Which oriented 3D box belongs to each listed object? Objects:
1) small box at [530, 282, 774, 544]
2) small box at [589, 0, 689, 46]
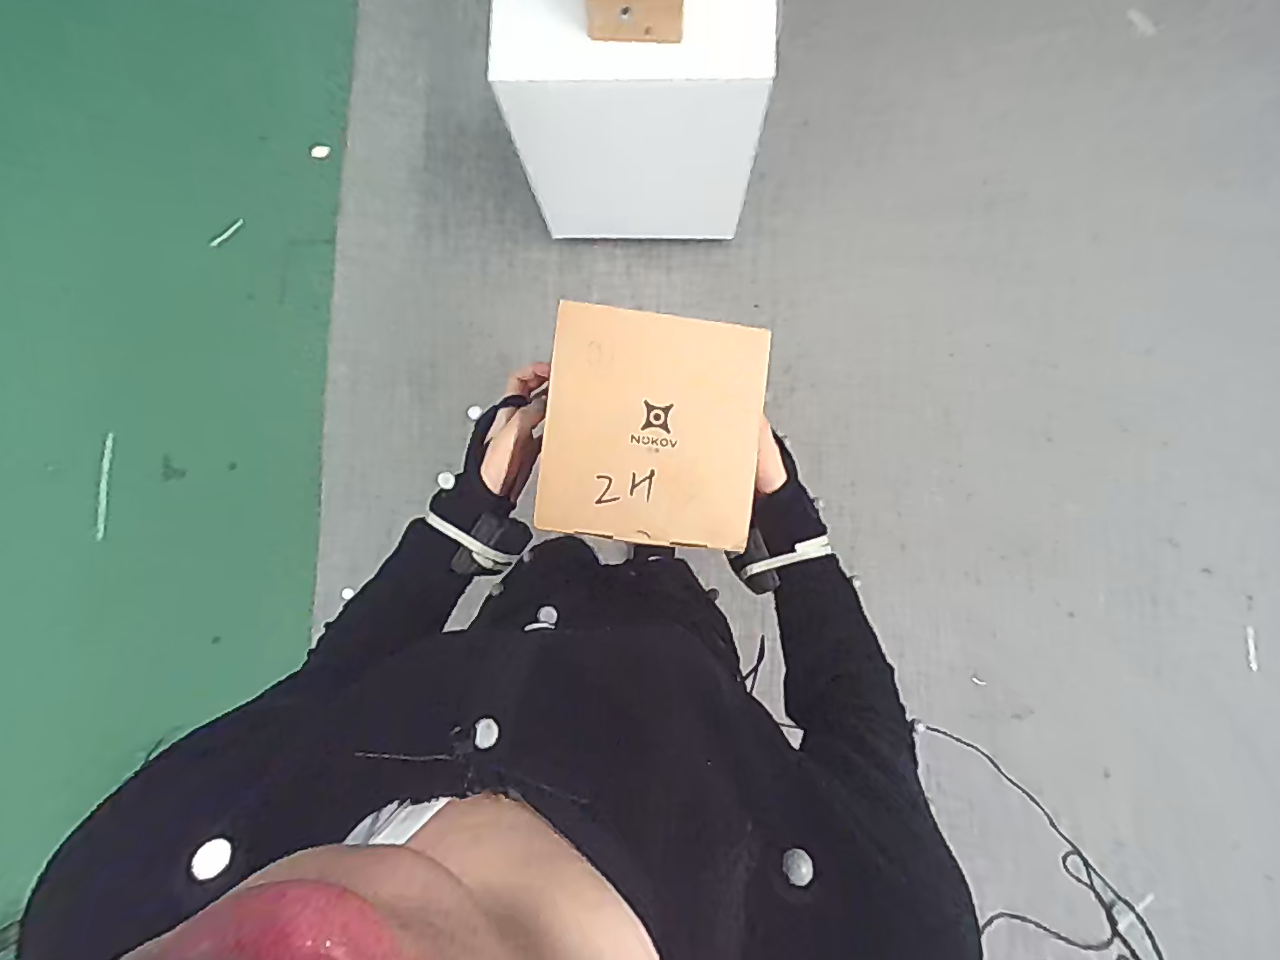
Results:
[{"bbox_3d":[0.004,-0.046,0.471,0.168,0.176,0.179,6,90,-5],"label":"small box"},{"bbox_3d":[0.001,-0.862,0.878,0.168,0.176,0.179,4,85,3],"label":"small box"}]
